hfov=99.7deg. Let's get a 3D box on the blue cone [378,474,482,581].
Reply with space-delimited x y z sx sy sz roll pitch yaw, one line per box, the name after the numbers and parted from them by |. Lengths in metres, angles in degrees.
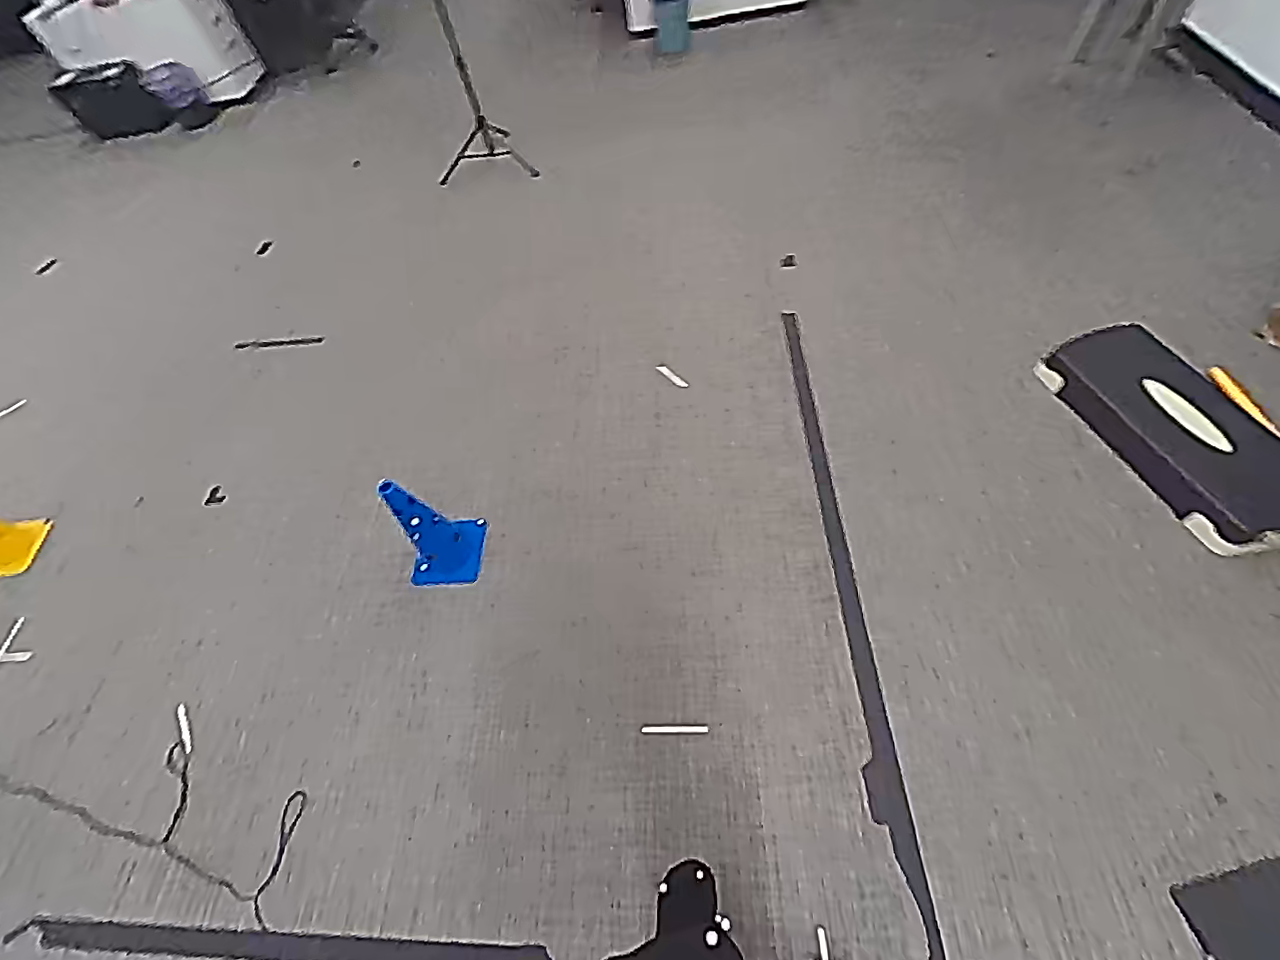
-0.578 0.111 1.426 0.193 0.380 0.192 -3 56 7 | blue cone
